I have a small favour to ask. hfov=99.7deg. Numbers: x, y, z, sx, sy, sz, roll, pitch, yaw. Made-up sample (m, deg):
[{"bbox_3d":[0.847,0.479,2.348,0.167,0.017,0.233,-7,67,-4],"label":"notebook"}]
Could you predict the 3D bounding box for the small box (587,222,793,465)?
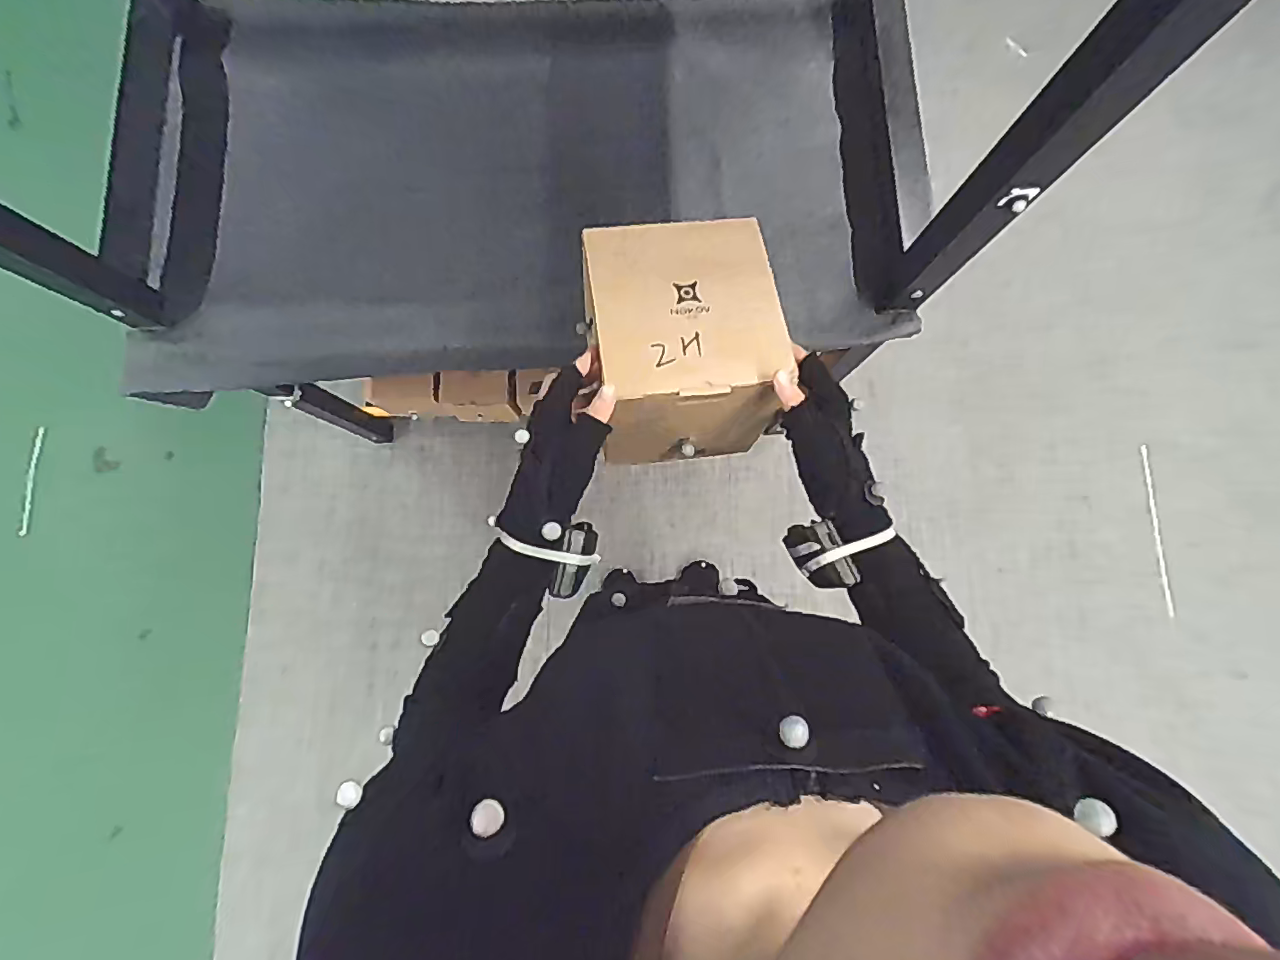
[{"bbox_3d":[0.034,-0.131,0.554,0.168,0.176,0.179,-6,71,-6],"label":"small box"}]
